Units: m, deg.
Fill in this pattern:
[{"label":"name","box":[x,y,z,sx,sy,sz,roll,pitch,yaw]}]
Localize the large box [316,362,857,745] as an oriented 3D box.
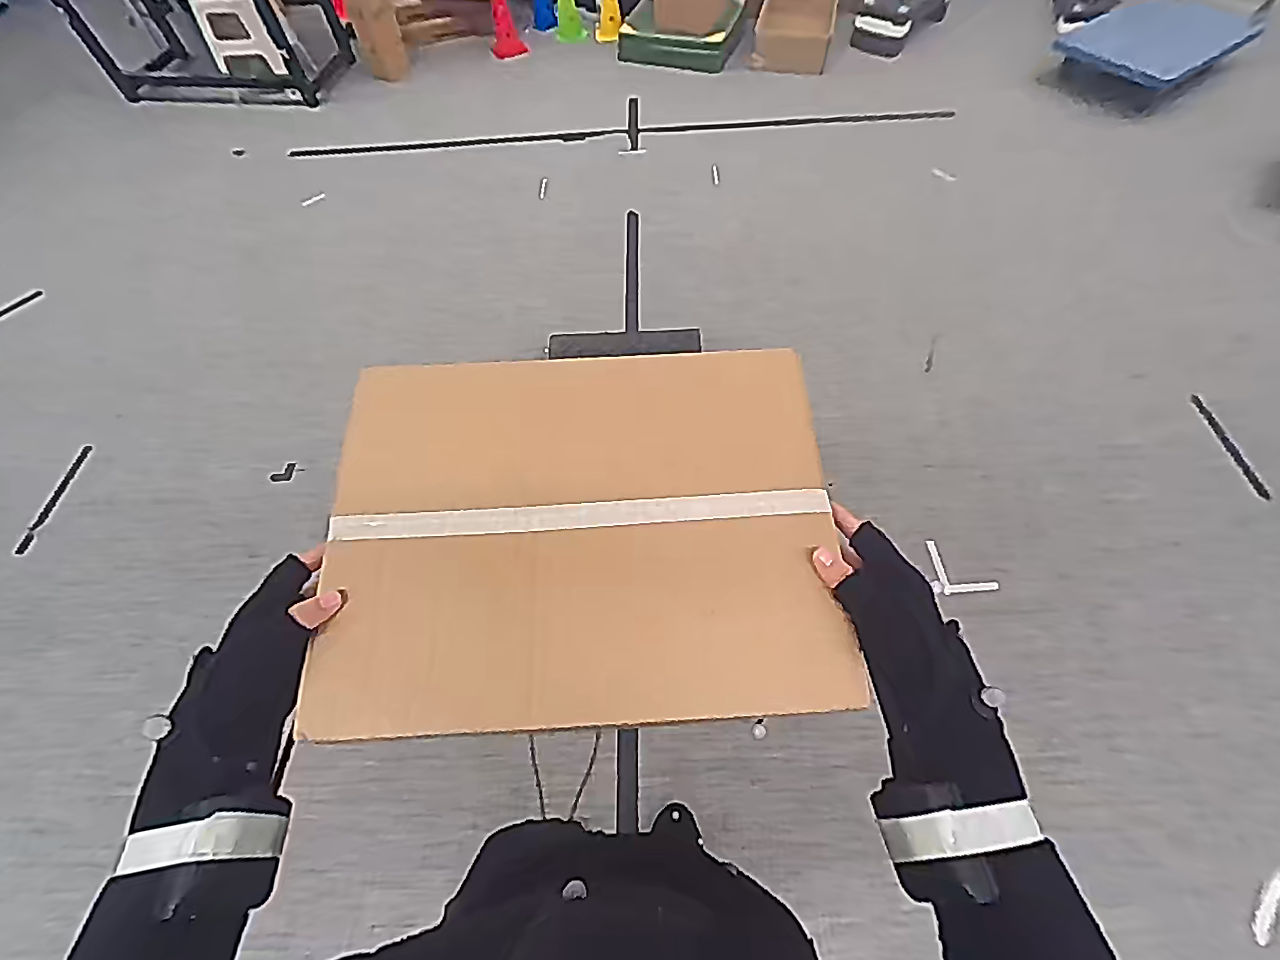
[{"label":"large box","box":[-0.044,0.096,0.587,0.408,0.320,0.320,-3,66,-2]}]
